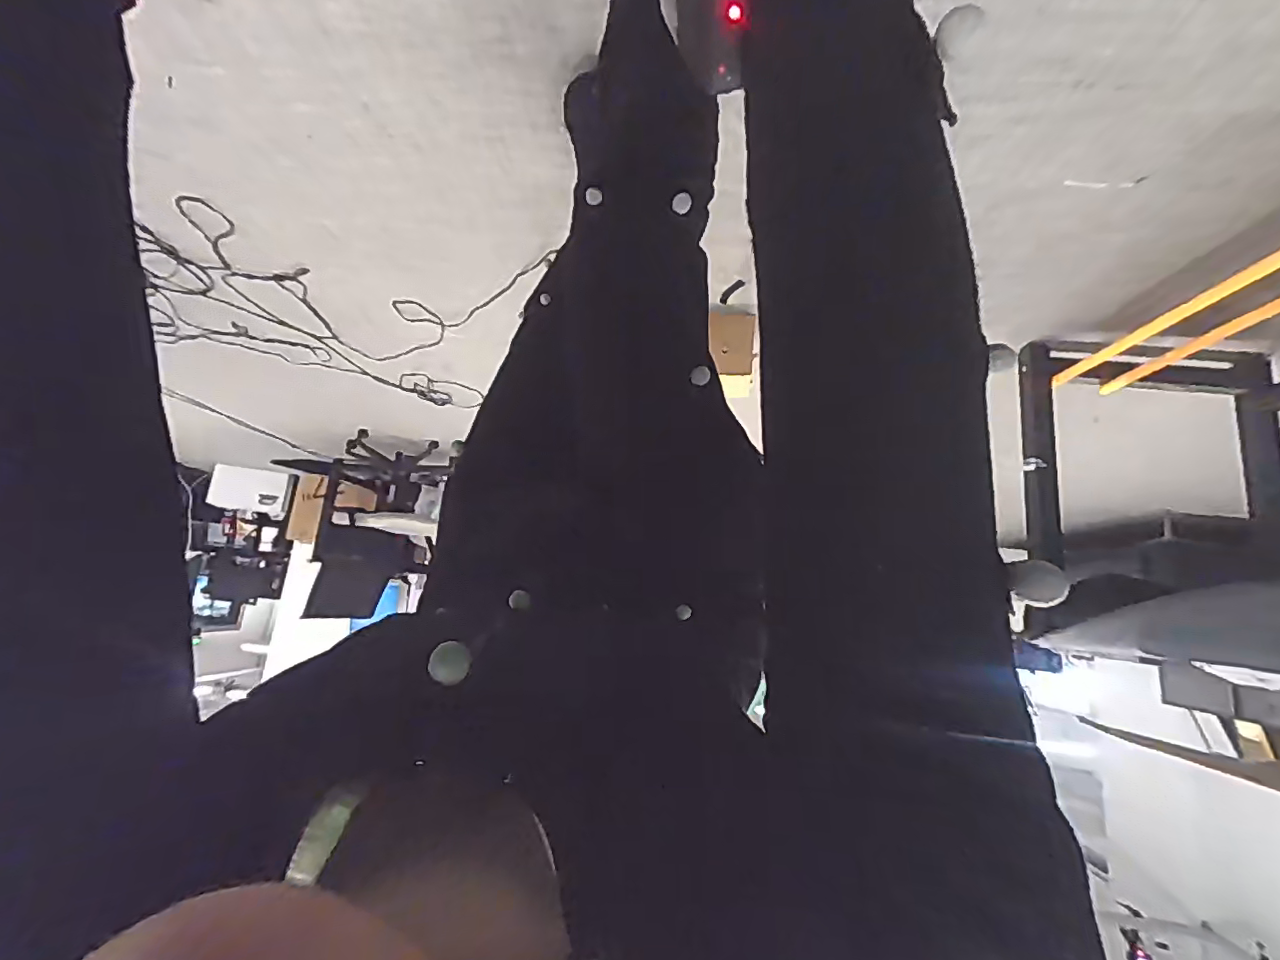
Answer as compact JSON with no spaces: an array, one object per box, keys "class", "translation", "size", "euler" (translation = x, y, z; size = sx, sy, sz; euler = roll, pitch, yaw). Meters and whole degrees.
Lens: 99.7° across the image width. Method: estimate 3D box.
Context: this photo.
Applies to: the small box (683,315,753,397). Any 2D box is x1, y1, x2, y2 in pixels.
[{"class":"small box","translation":[0.212,-0.331,1.453],"size":[0.179,0.176,0.168],"euler":[3,168,10]}]
